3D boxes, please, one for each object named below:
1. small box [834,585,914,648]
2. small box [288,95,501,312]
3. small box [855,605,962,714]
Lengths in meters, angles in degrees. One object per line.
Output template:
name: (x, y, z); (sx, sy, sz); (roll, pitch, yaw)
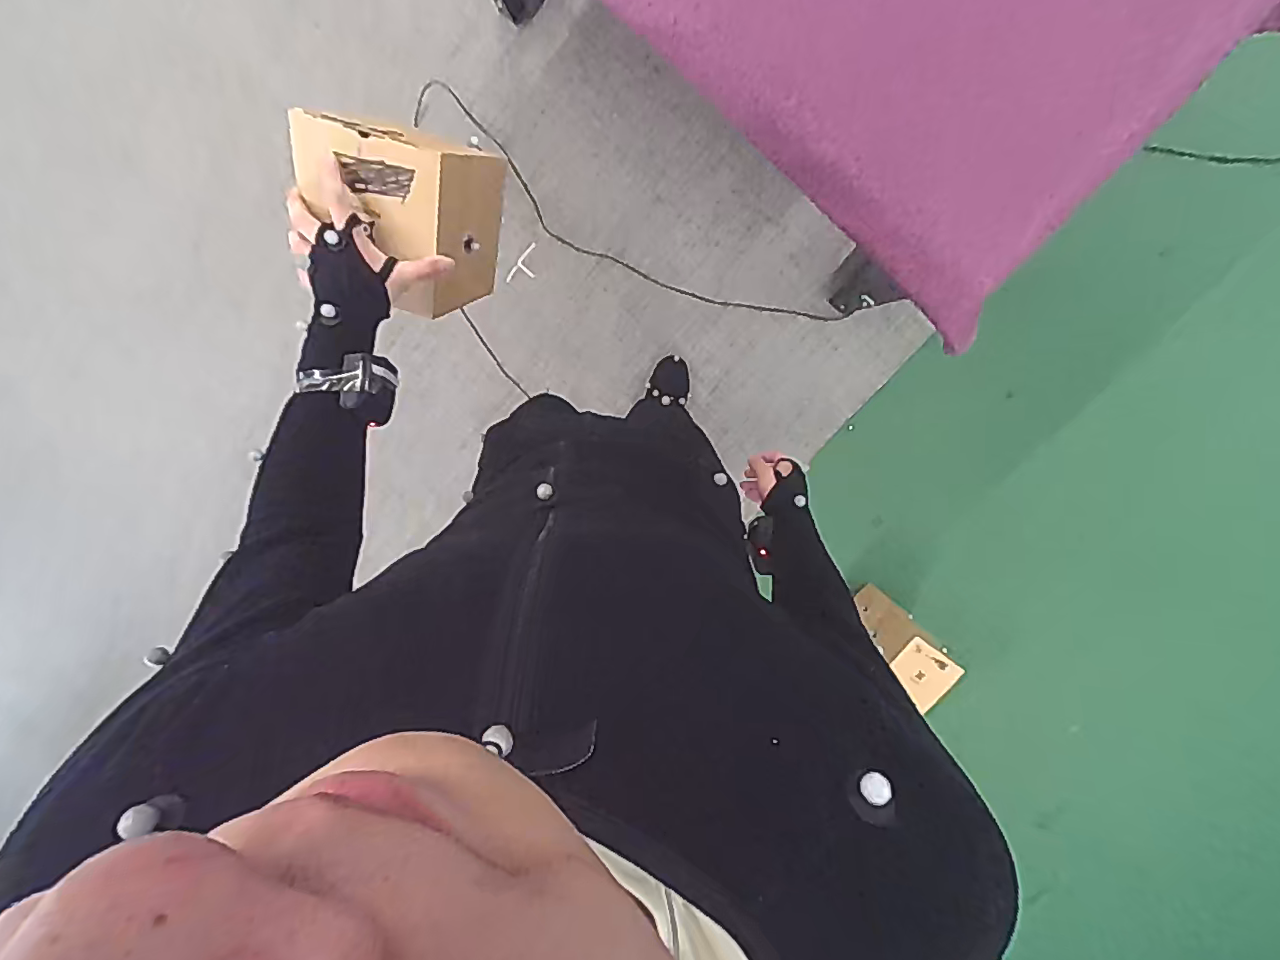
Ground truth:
small box: (0.712, 0.438, 1.609); (0.179, 0.176, 0.168); (38, 103, -6)
small box: (-0.281, -0.329, 0.650); (0.168, 0.176, 0.179); (19, 123, 3)
small box: (0.704, 0.475, 1.450); (0.168, 0.176, 0.179); (36, 104, -6)
